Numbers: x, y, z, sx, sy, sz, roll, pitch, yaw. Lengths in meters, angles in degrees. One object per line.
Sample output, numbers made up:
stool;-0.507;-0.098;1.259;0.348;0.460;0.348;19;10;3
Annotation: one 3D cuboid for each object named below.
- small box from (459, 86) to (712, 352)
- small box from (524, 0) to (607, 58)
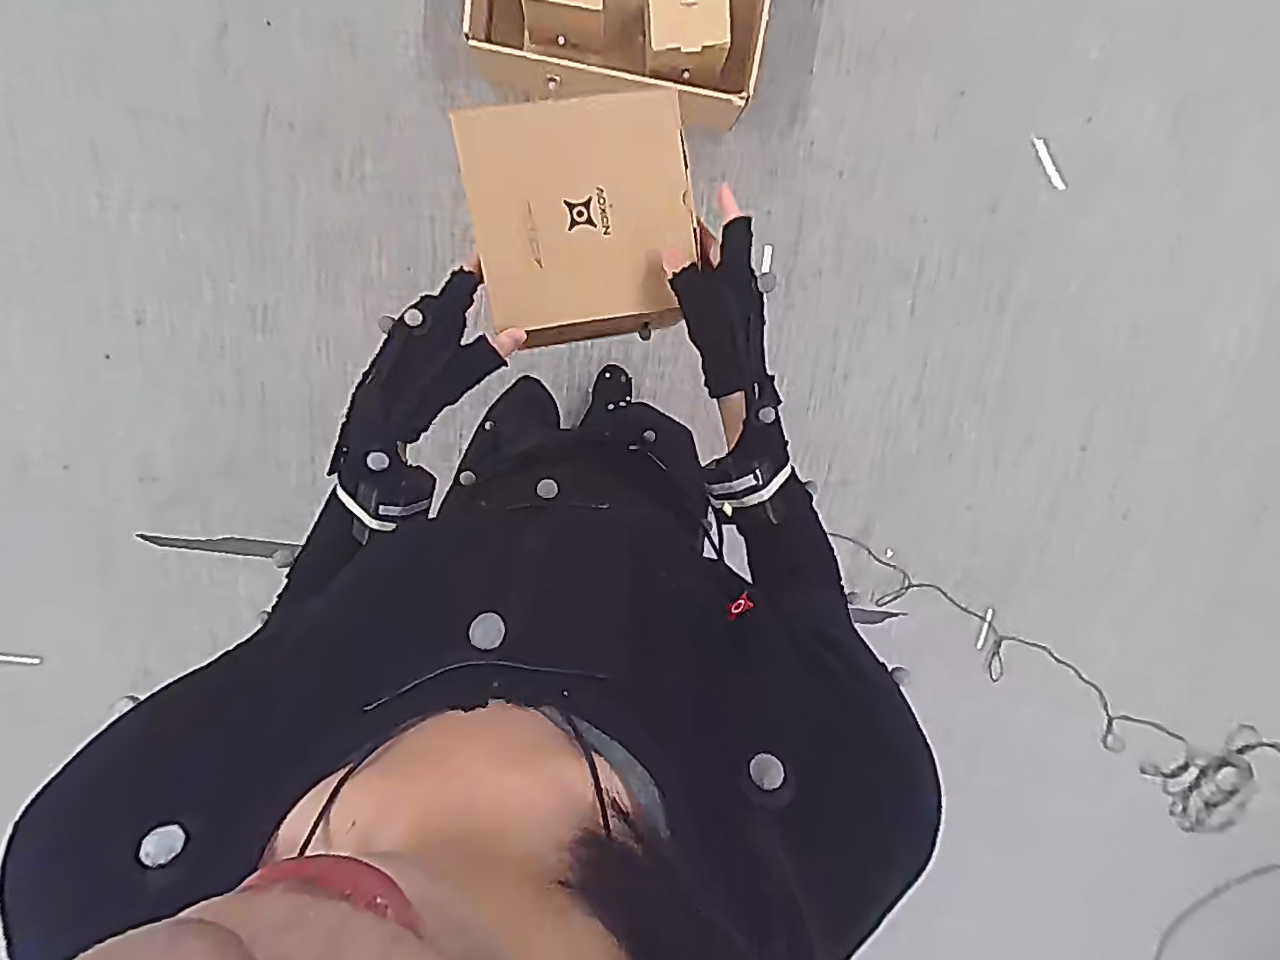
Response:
small box;-0.048;-0.220;0.499;0.179;0.176;0.168;-11;97;-5
small box;-0.153;-1.047;1.144;0.168;0.176;0.179;6;102;-6
